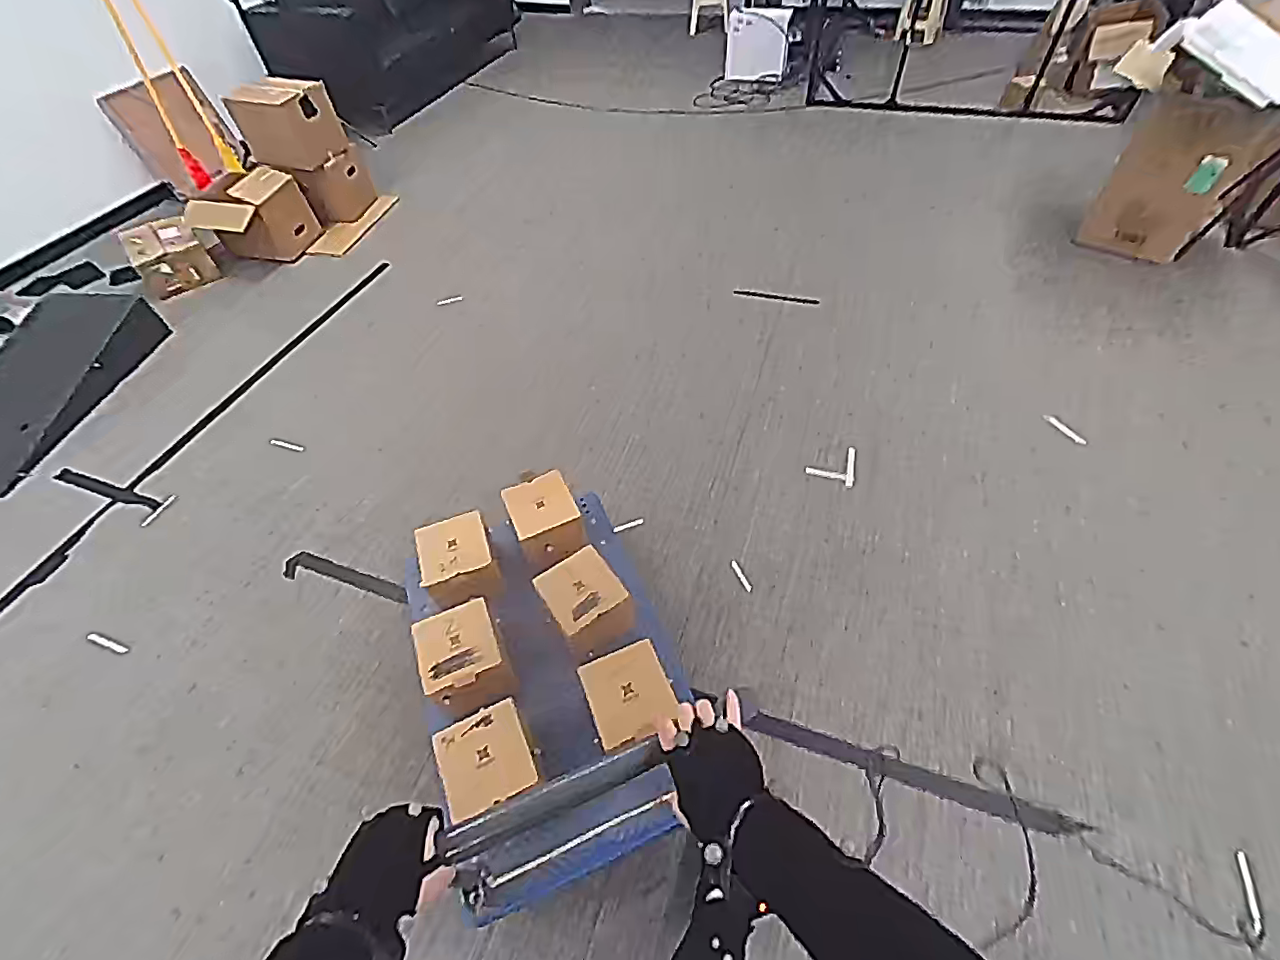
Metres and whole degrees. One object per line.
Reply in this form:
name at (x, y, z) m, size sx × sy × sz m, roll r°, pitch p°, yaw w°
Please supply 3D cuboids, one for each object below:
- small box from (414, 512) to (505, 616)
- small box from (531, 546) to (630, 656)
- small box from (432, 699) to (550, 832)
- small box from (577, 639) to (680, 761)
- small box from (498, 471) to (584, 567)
small box at (-0.460, 0.217, 1.387) m, size 0.168 × 0.176 × 0.179 m, roll -19°, pitch 54°, yaw -12°
small box at (-0.138, 0.300, 1.306) m, size 0.168 × 0.176 × 0.179 m, roll -30°, pitch 55°, yaw -20°
small box at (-0.293, 0.579, 1.088) m, size 0.168 × 0.176 × 0.179 m, roll -22°, pitch 54°, yaw -16°
small box at (-0.022, 0.478, 1.159) m, size 0.168 × 0.176 × 0.179 m, roll -19°, pitch 52°, yaw -13°
small box at (-0.263, 0.114, 1.462) m, size 0.168 × 0.176 × 0.179 m, roll -23°, pitch 54°, yaw -15°
